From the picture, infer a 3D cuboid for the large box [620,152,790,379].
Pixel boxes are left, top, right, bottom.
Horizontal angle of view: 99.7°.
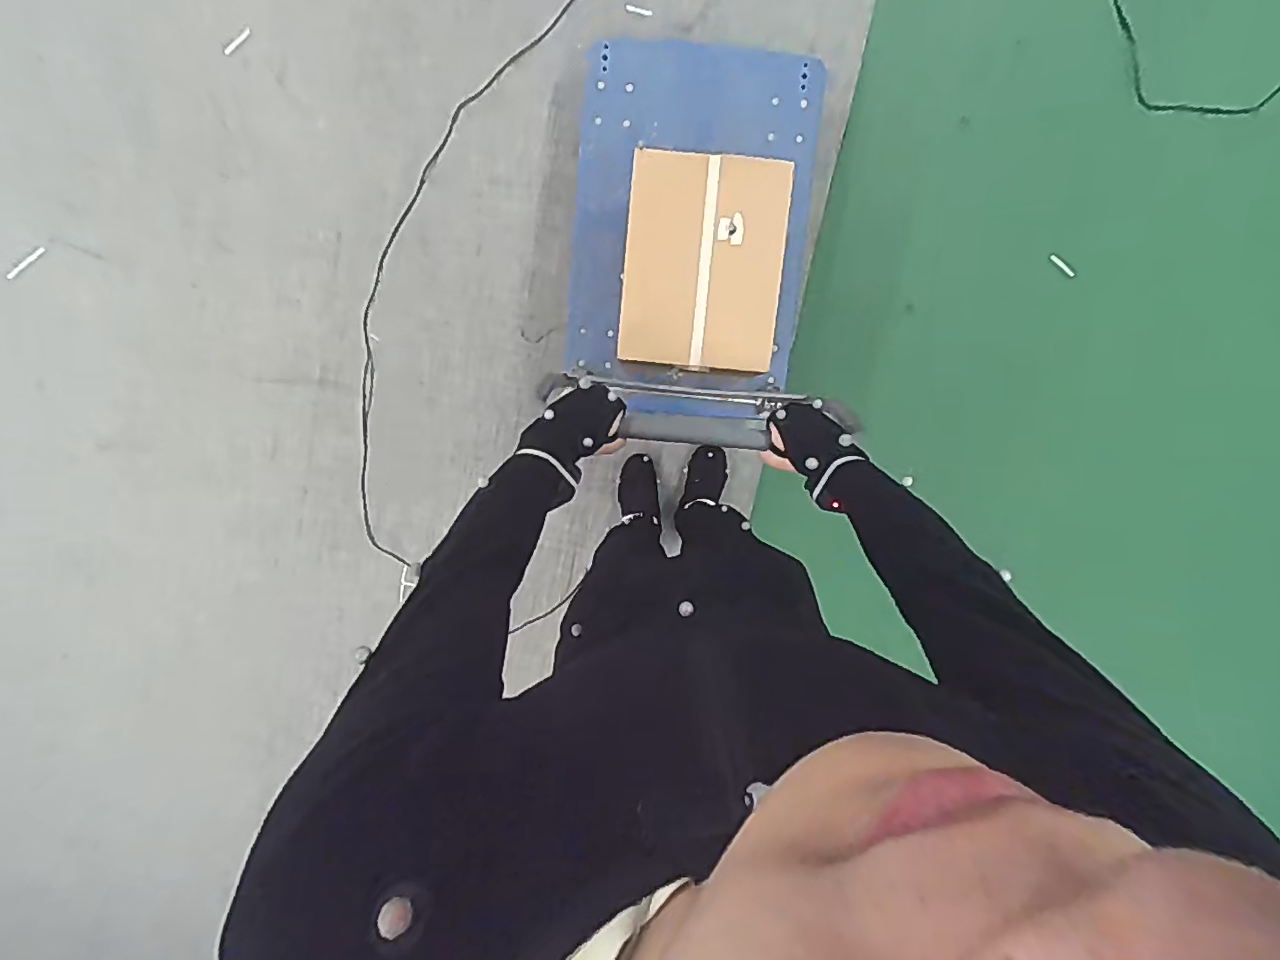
[{"bbox_3d":[0.128,-0.445,1.217,0.320,0.320,0.408,5,97,-1],"label":"large box"}]
